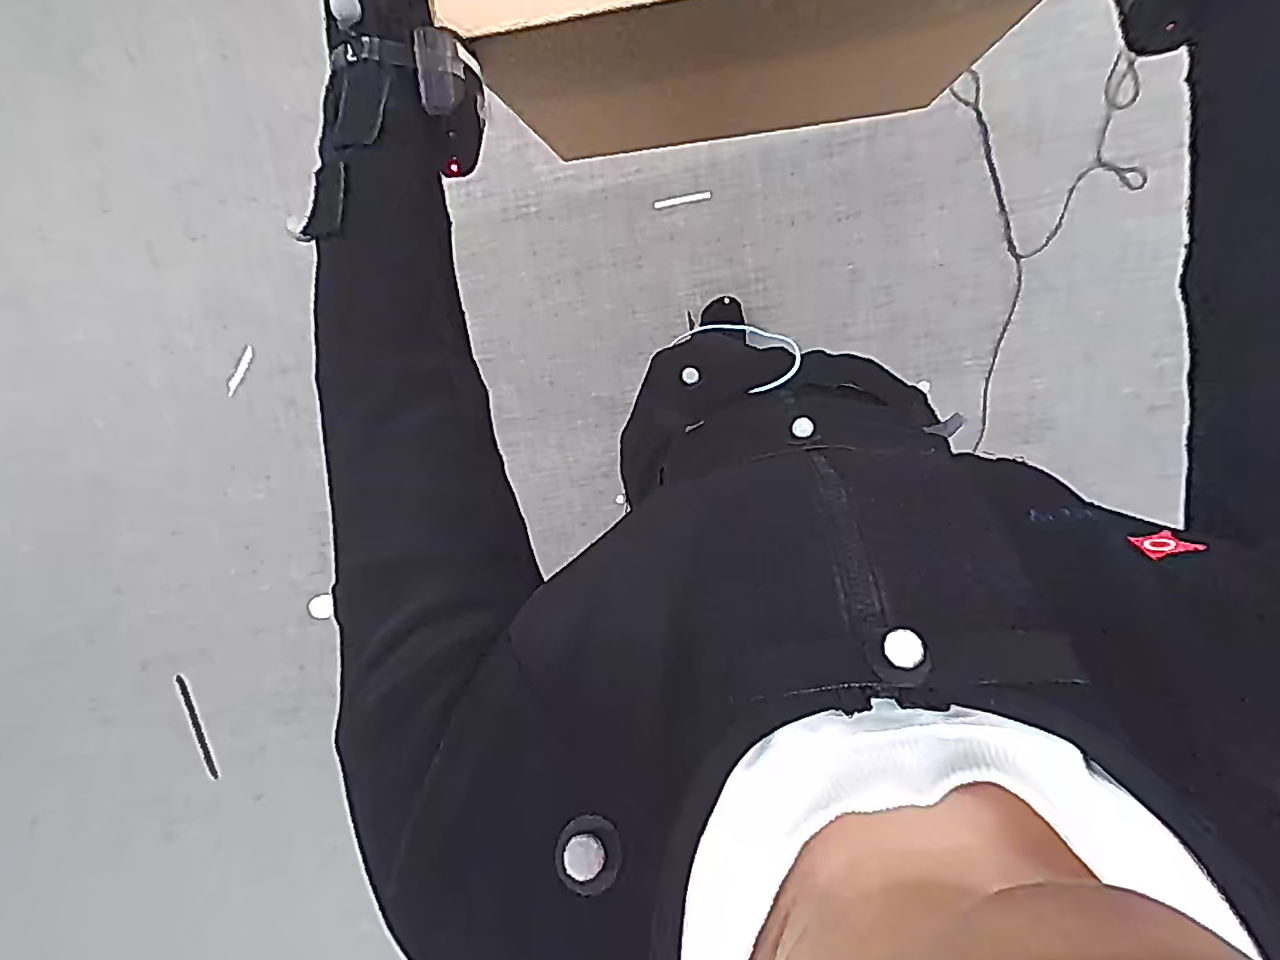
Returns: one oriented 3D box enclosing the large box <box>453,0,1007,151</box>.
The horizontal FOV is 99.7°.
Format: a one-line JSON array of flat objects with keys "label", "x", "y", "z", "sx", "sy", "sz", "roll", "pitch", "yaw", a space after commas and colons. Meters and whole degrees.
[{"label": "large box", "x": 0.072, "y": -0.497, "z": 0.419, "sx": 0.408, "sy": 0.320, "sz": 0.320, "roll": -4, "pitch": 108, "yaw": 8}]
